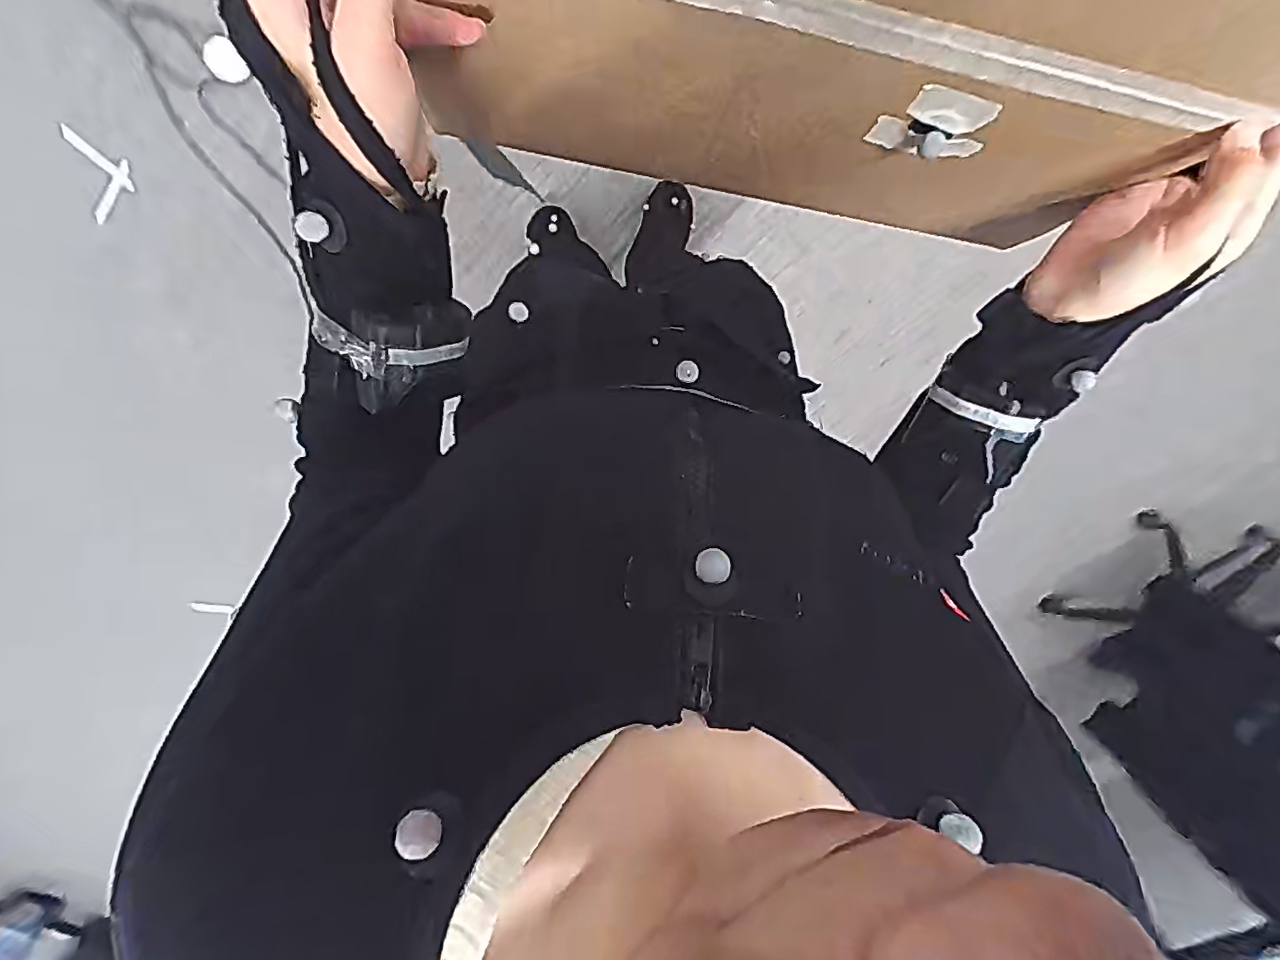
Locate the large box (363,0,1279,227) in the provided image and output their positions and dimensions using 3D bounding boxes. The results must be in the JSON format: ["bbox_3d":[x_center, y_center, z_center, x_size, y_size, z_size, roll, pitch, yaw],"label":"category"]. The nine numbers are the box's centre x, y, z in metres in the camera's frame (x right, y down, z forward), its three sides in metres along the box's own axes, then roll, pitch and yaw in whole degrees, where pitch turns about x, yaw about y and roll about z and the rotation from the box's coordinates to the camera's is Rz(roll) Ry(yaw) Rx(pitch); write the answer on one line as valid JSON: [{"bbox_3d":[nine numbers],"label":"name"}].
[{"bbox_3d":[0.091,-0.342,0.214,0.408,0.320,0.320,5,94,-7],"label":"large box"}]
